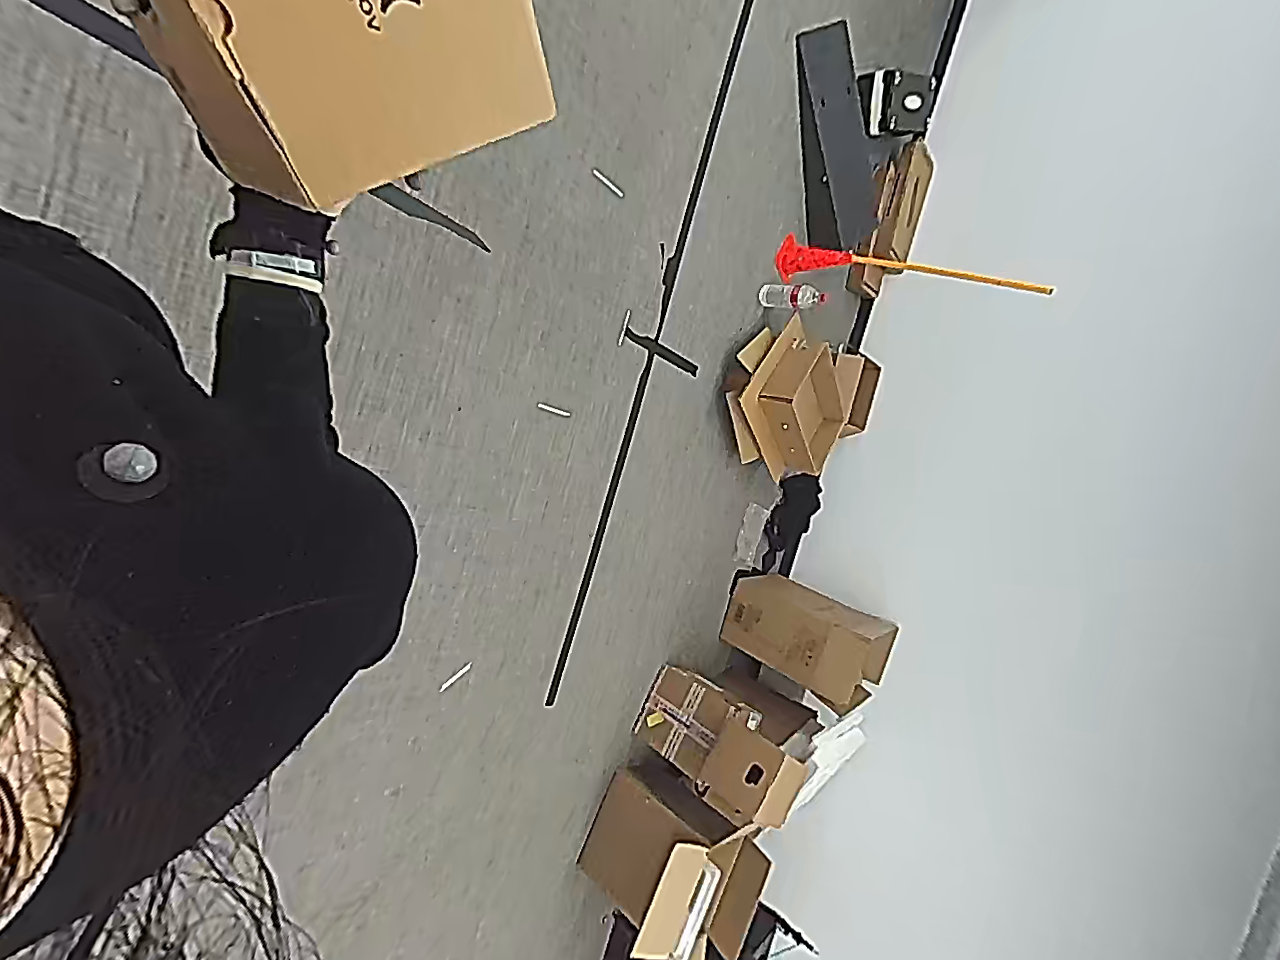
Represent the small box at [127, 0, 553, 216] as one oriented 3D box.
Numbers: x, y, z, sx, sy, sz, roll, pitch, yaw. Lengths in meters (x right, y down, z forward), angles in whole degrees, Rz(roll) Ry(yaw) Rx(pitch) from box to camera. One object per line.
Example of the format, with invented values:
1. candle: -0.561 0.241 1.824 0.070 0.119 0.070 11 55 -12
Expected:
1. small box: -0.187 -0.288 0.330 0.179 0.176 0.168 -40 141 -24
